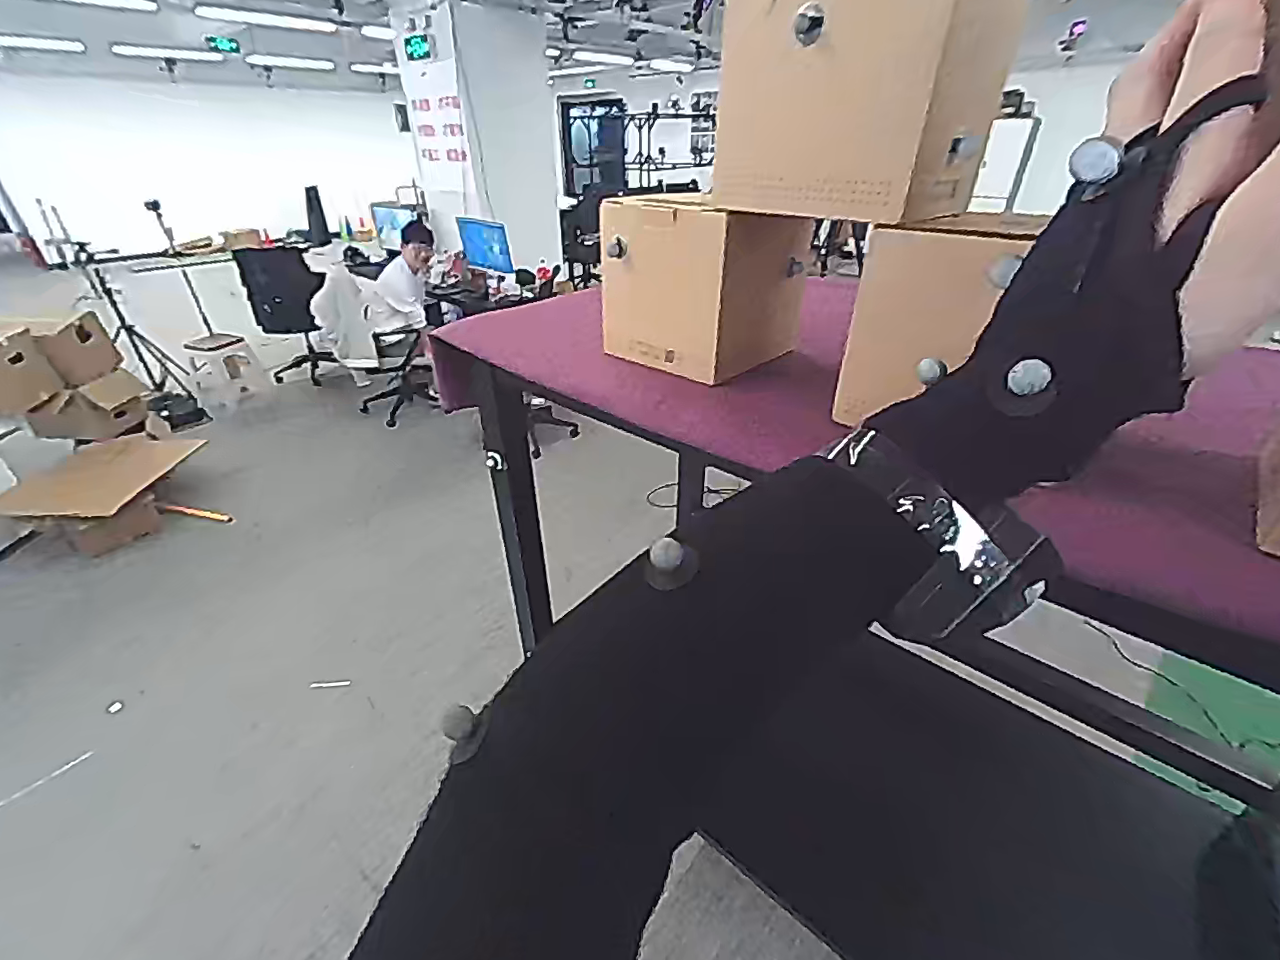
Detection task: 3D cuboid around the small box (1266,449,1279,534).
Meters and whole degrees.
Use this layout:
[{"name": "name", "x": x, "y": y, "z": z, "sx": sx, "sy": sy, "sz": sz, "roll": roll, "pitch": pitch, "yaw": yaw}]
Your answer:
[{"name": "small box", "x": 0.503, "y": -0.026, "z": 0.293, "sx": 0.179, "sy": 0.176, "sz": 0.168, "roll": -26, "pitch": 40, "yaw": -37}]

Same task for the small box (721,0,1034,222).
[{"name": "small box", "x": 0.185, "y": -0.315, "z": 0.449, "sx": 0.179, "sy": 0.176, "sz": 0.168, "roll": 27, "pitch": 40, "yaw": 35}]

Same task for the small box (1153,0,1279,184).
[{"name": "small box", "x": 0.326, "y": -0.218, "z": 0.187, "sx": 0.168, "sy": 0.176, "sz": 0.179, "roll": 22, "pitch": 61, "yaw": 31}]
